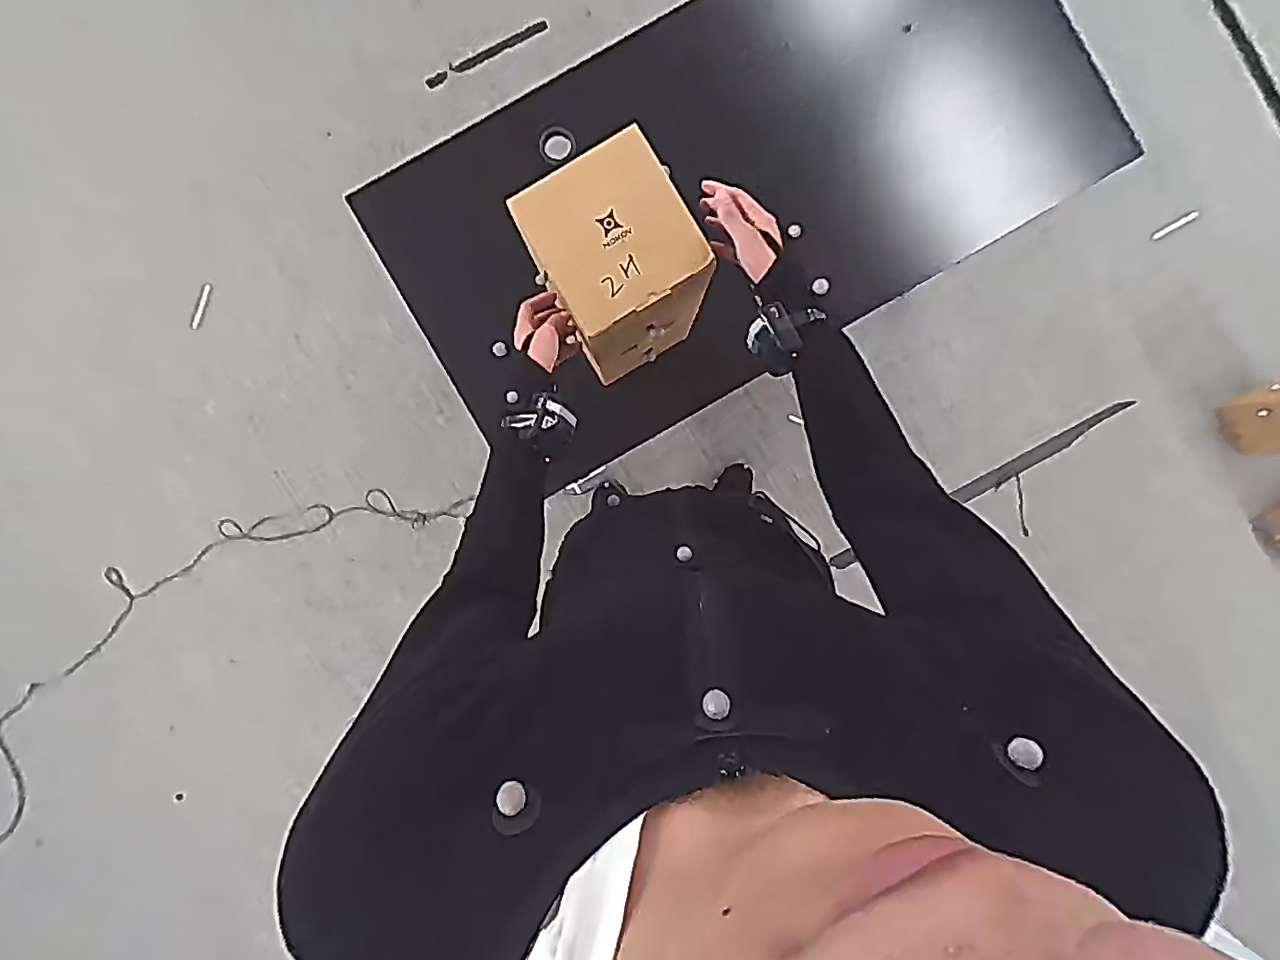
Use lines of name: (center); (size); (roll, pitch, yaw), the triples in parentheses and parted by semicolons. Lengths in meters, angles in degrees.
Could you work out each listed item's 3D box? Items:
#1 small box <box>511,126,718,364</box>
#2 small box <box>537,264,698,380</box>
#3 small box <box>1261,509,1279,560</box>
small box: (-0.029, -0.265, 0.656); (0.168, 0.176, 0.179); (-31, 91, 0)
small box: (-0.031, -0.266, 0.821); (0.168, 0.176, 0.179); (-31, 92, 0)
small box: (2.025, 0.152, 1.590); (0.179, 0.176, 0.168); (-31, 90, 1)
